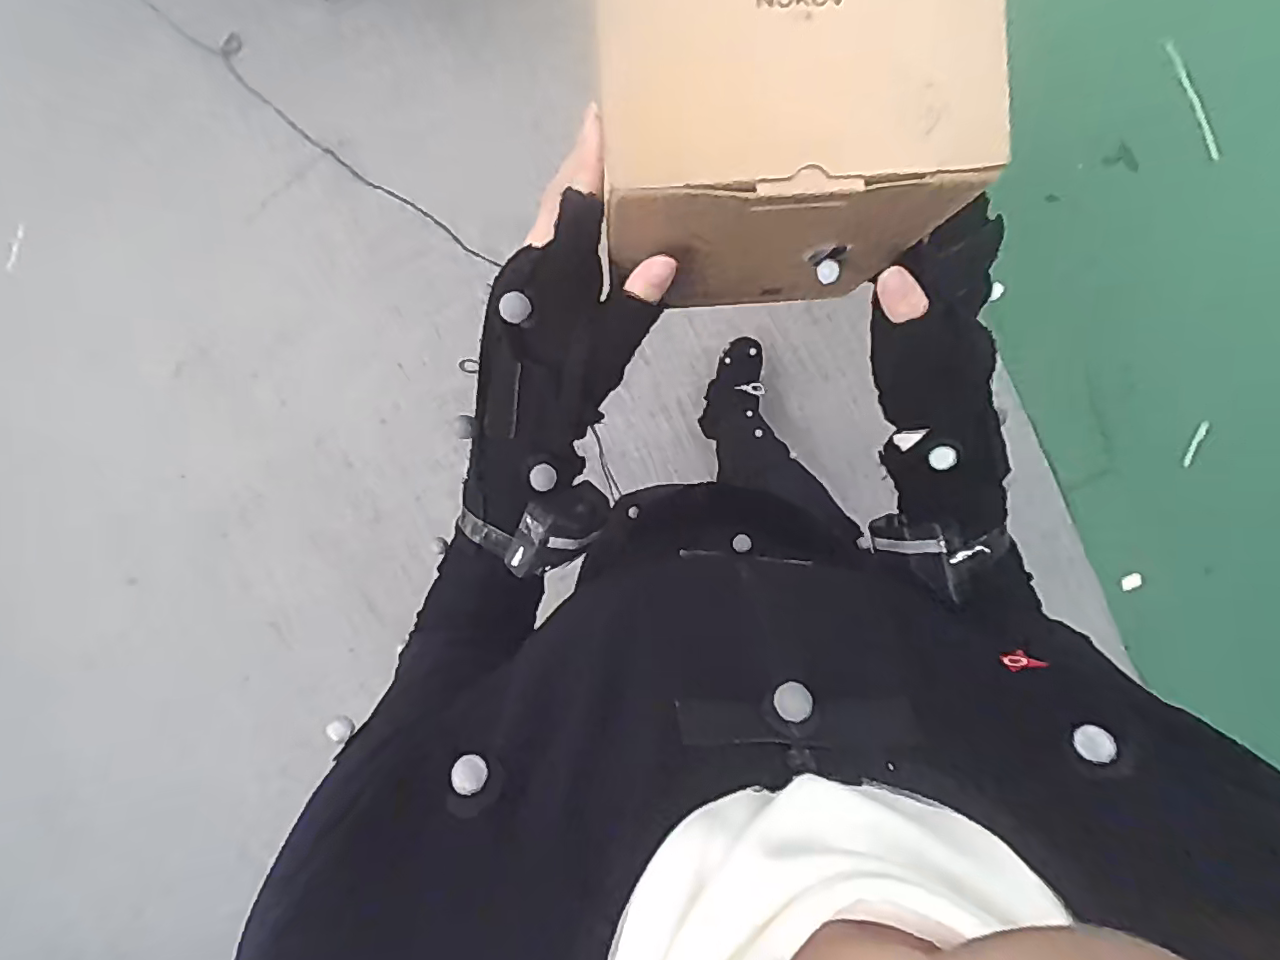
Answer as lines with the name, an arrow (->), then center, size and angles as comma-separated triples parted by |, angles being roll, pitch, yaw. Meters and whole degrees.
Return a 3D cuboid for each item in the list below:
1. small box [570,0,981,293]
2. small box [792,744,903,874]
small box -> 0.050, -0.211, 0.296 | 0.168, 0.176, 0.179 | -4, 90, -3
small box -> 0.485, 0.781, 1.301 | 0.179, 0.176, 0.168 | -29, 92, 3
